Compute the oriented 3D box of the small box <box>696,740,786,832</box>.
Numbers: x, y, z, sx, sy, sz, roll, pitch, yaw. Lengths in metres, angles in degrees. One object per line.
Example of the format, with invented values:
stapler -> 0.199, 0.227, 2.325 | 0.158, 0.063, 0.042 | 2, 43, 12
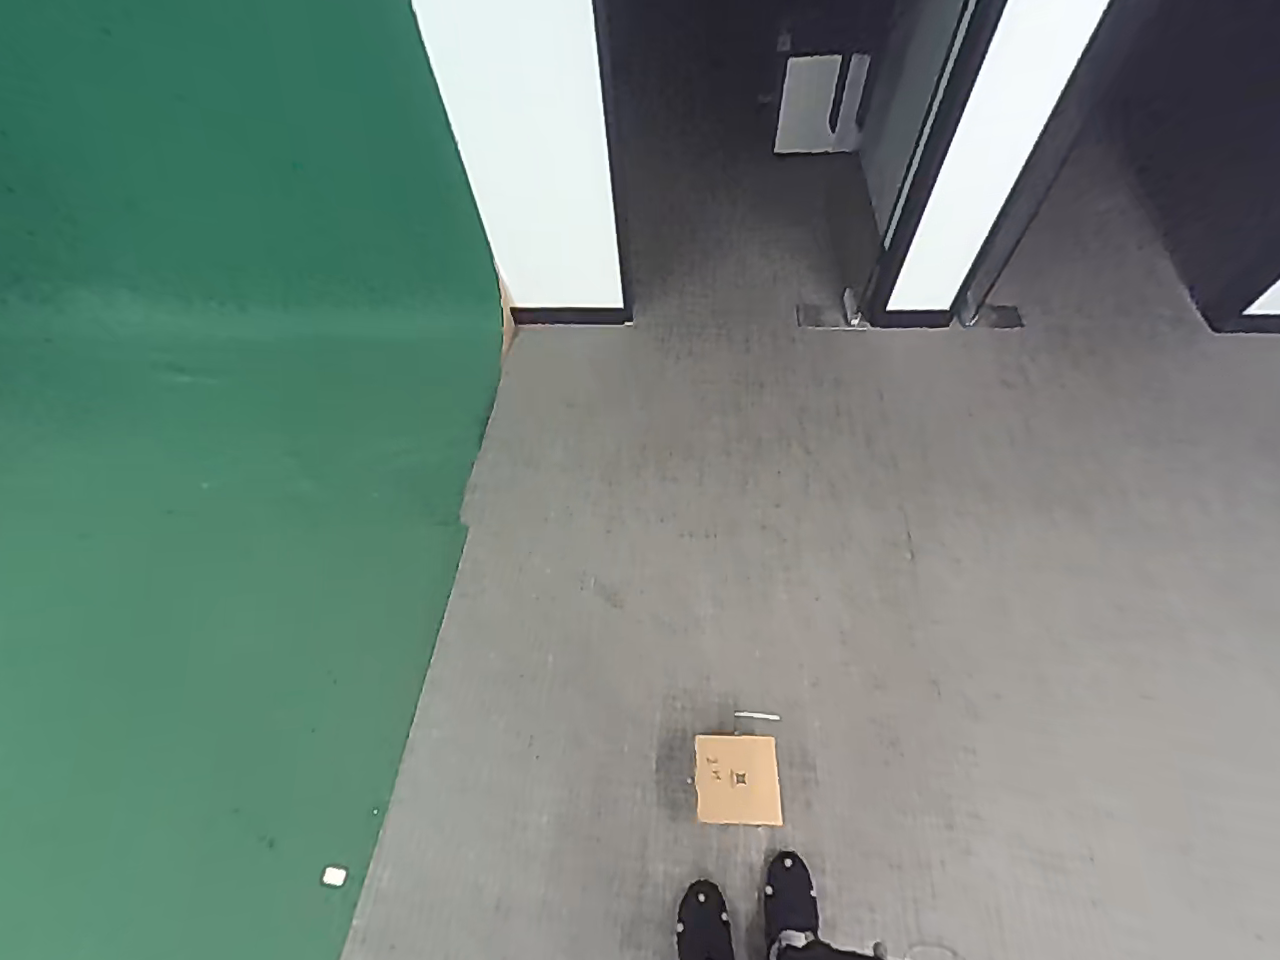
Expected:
small box -> 0.217, 0.685, 1.207 | 0.179, 0.176, 0.168 | -1, 56, 5
